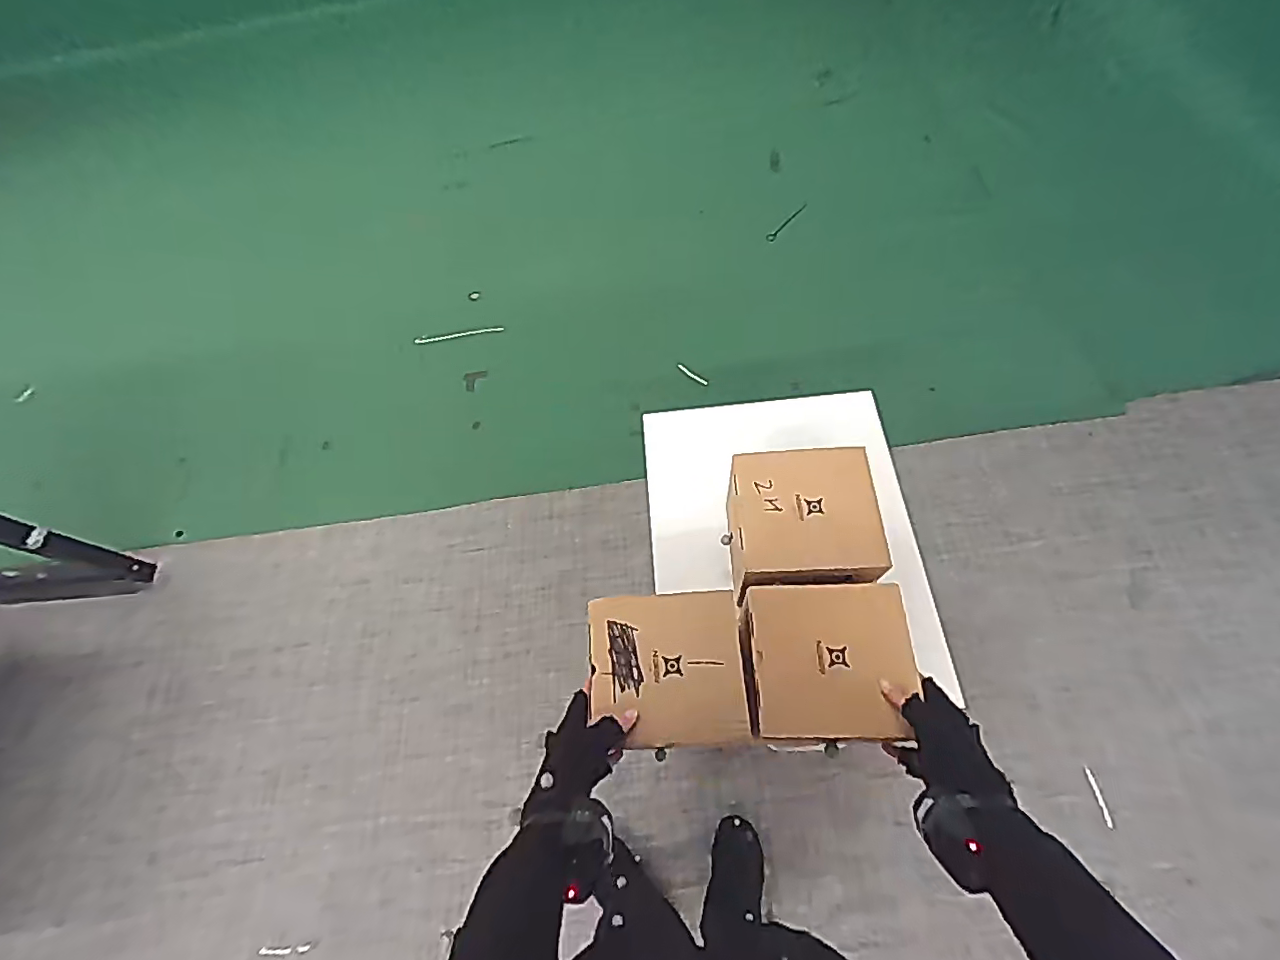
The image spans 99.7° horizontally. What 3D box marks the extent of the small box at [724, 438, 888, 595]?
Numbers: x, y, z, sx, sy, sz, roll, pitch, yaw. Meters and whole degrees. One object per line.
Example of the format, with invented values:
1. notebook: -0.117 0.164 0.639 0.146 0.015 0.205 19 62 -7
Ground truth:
1. small box: 0.214 0.057 0.750 0.179 0.176 0.168 -4 64 5
